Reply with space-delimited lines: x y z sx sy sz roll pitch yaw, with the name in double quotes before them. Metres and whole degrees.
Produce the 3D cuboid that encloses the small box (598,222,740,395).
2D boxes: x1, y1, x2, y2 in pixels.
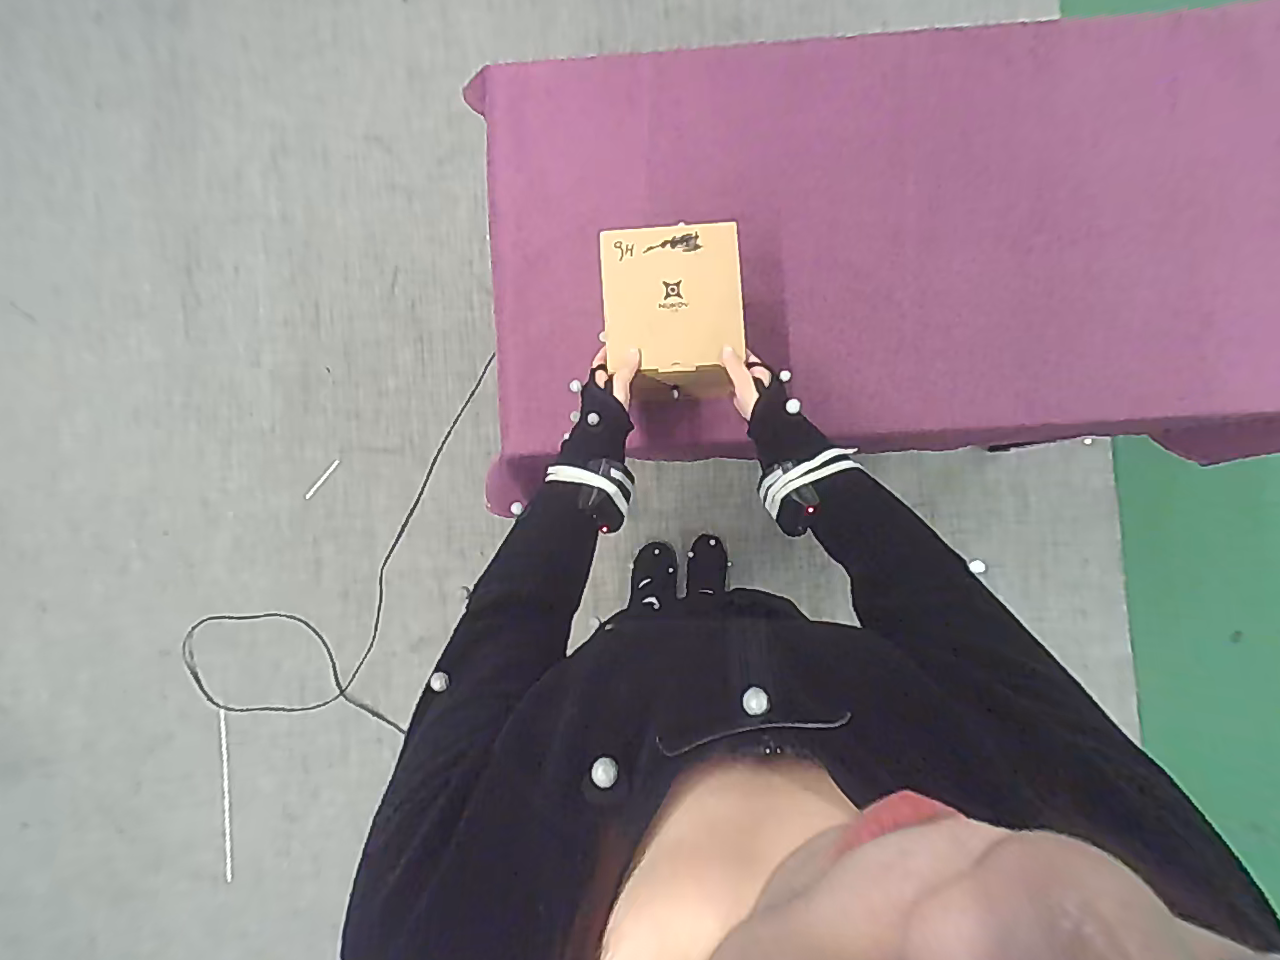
"small box" 0.037 -0.213 0.718 0.168 0.176 0.179 -3 87 2
